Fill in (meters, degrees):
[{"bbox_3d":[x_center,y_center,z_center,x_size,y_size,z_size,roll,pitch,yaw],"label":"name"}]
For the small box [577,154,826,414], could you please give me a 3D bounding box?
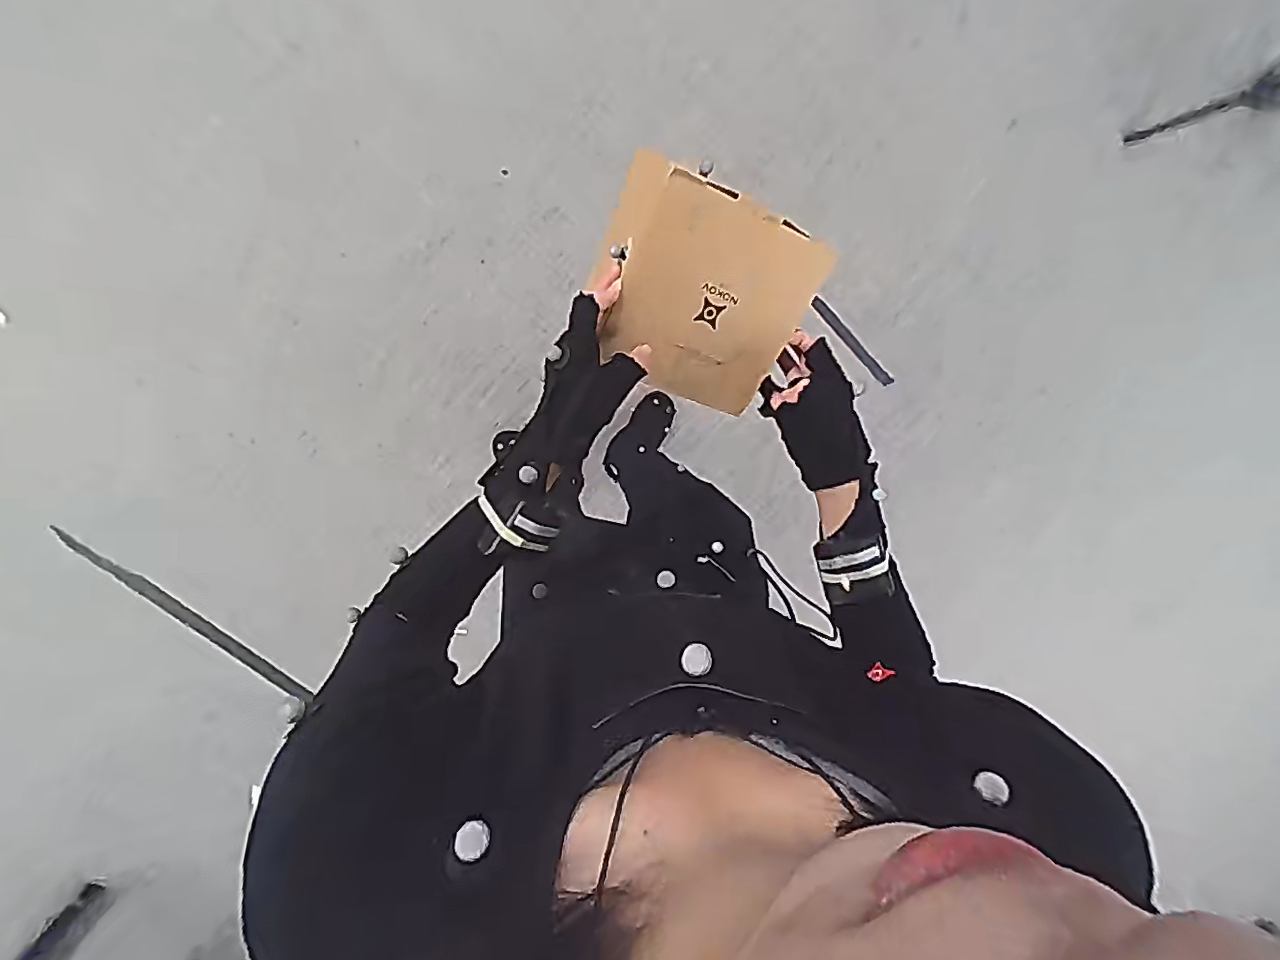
[{"bbox_3d":[0.042,-0.198,0.538,0.168,0.176,0.179,16,120,-20],"label":"small box"}]
